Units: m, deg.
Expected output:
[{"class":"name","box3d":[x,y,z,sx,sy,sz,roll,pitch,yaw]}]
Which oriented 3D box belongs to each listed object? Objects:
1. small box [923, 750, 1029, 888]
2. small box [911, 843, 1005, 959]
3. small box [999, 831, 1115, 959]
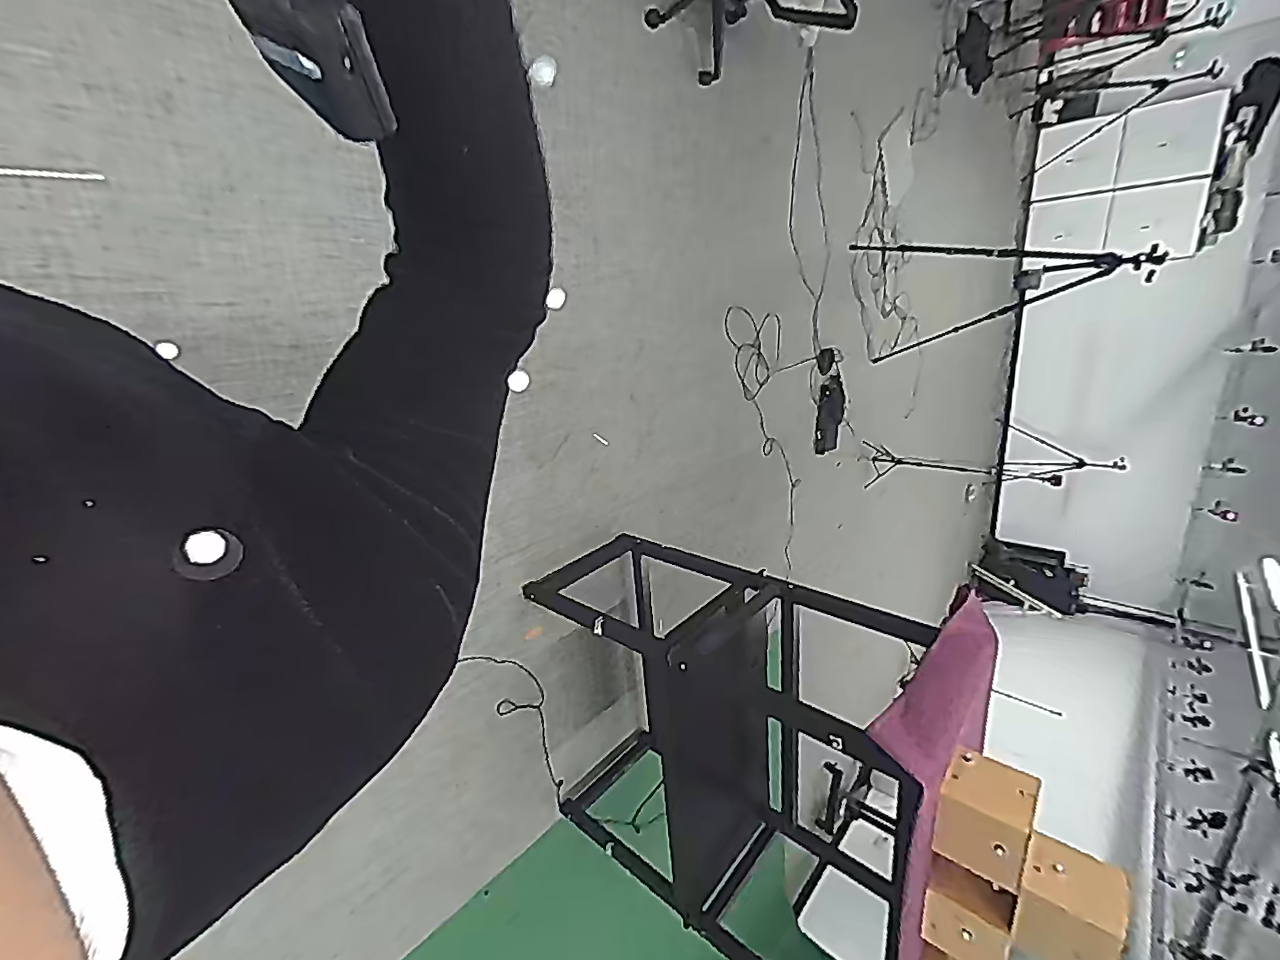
[{"class":"small box","box3d":[0.748,0.742,1.211,0.168,0.176,0.179,-23,117,-44]},{"class":"small box","box3d":[0.764,1.010,1.297,0.179,0.176,0.168,-23,115,-45]},{"class":"small box","box3d":[0.886,0.909,1.157,0.168,0.176,0.179,-21,115,-46]}]
